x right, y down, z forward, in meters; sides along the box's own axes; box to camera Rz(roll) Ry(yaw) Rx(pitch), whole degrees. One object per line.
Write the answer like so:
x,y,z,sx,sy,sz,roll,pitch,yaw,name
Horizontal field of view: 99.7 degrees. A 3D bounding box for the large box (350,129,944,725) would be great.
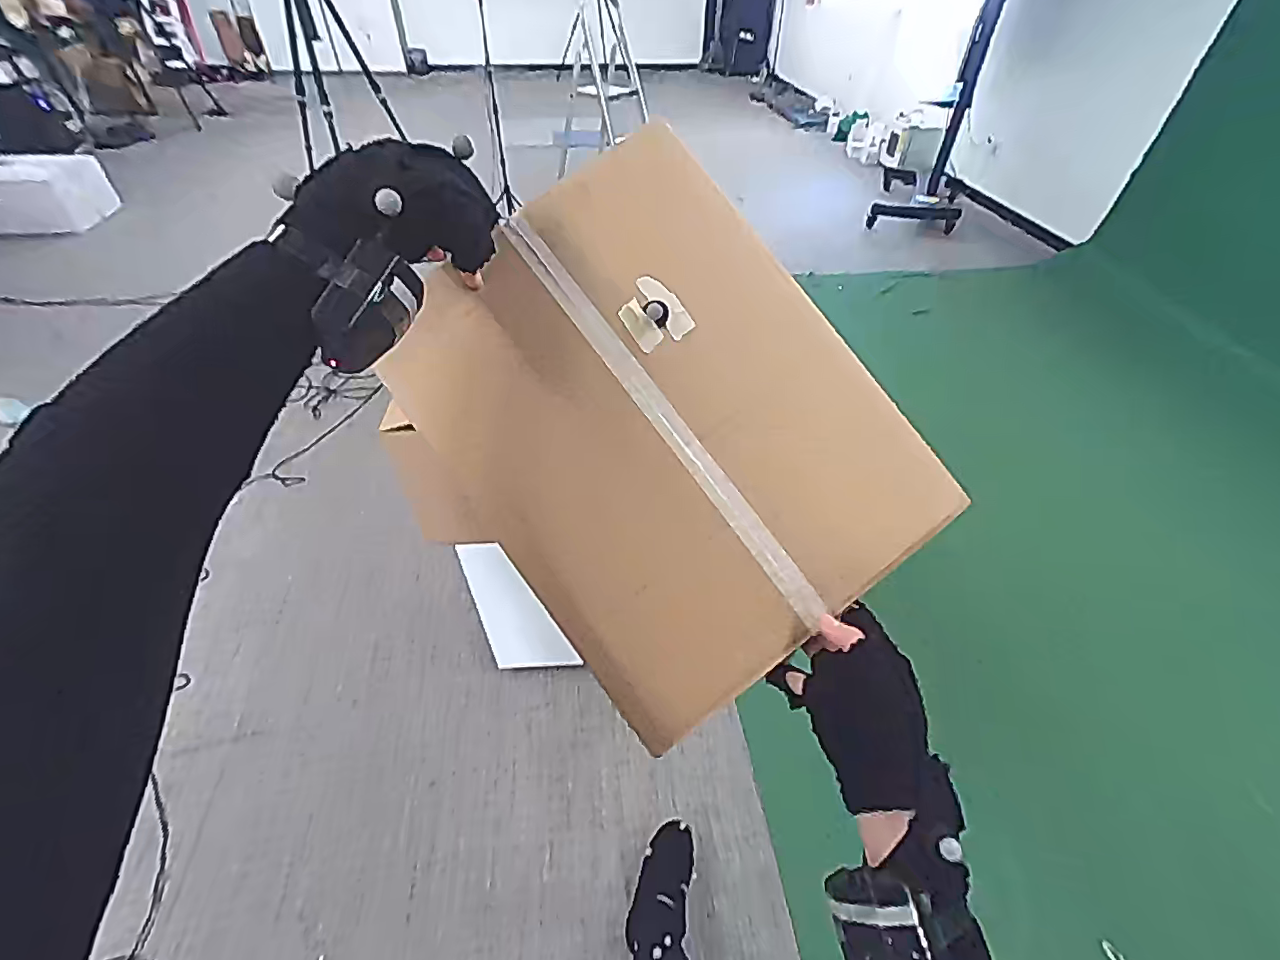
0.003,-0.039,0.579,0.320,0.320,0.408,-36,84,-6,large box
